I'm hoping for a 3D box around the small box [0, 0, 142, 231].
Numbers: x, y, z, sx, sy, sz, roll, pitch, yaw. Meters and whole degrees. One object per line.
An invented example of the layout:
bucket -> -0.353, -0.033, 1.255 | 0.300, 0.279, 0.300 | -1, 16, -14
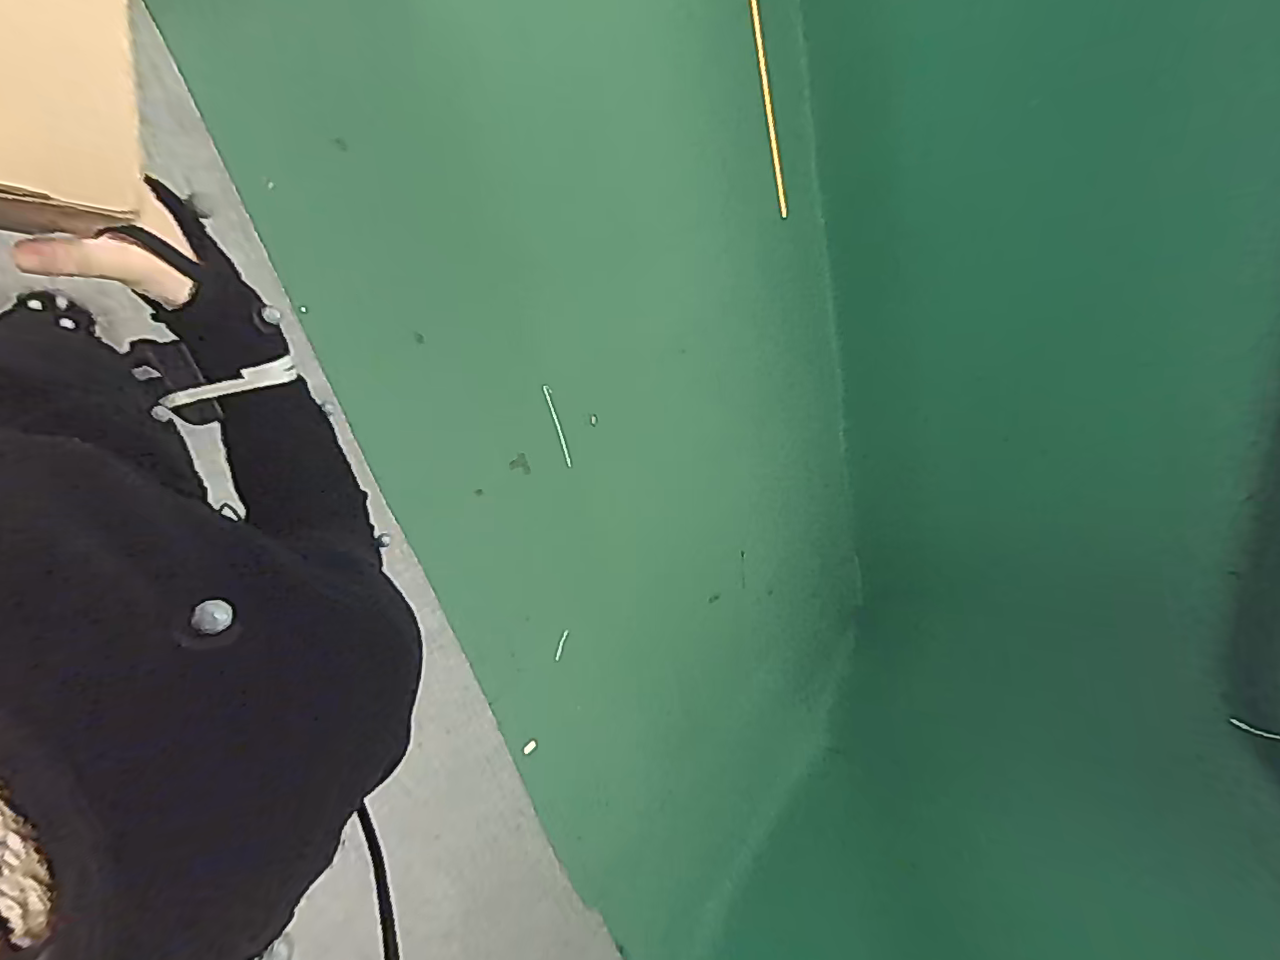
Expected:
small box -> -0.342, -0.212, 0.214 | 0.168, 0.176, 0.179 | -14, 114, -59
